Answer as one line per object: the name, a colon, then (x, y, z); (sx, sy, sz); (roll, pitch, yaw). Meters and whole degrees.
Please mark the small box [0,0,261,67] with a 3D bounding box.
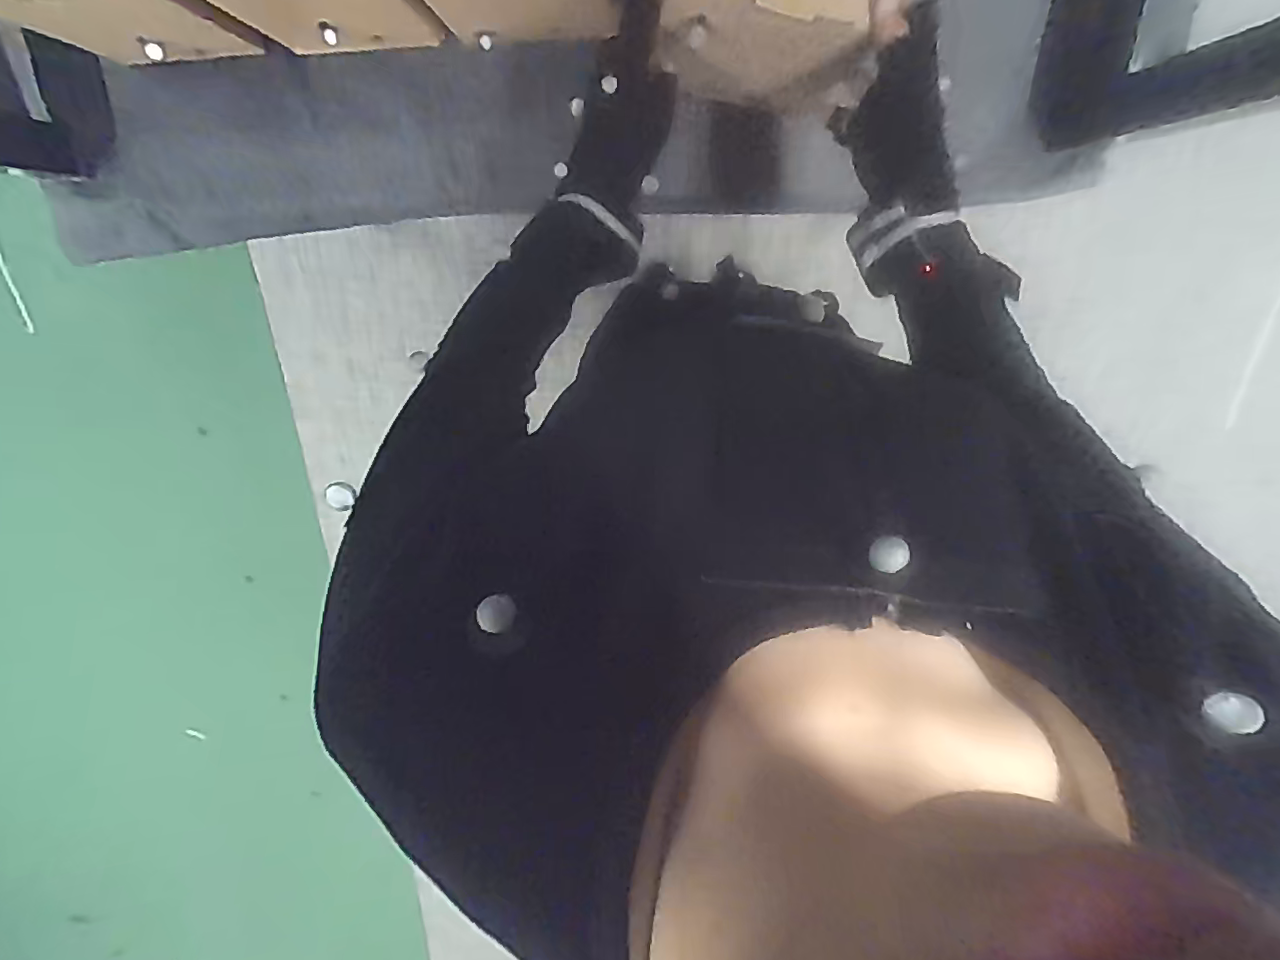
small box: (-0.487, -0.503, 0.478); (0.168, 0.176, 0.179); (-2, 112, 3)
